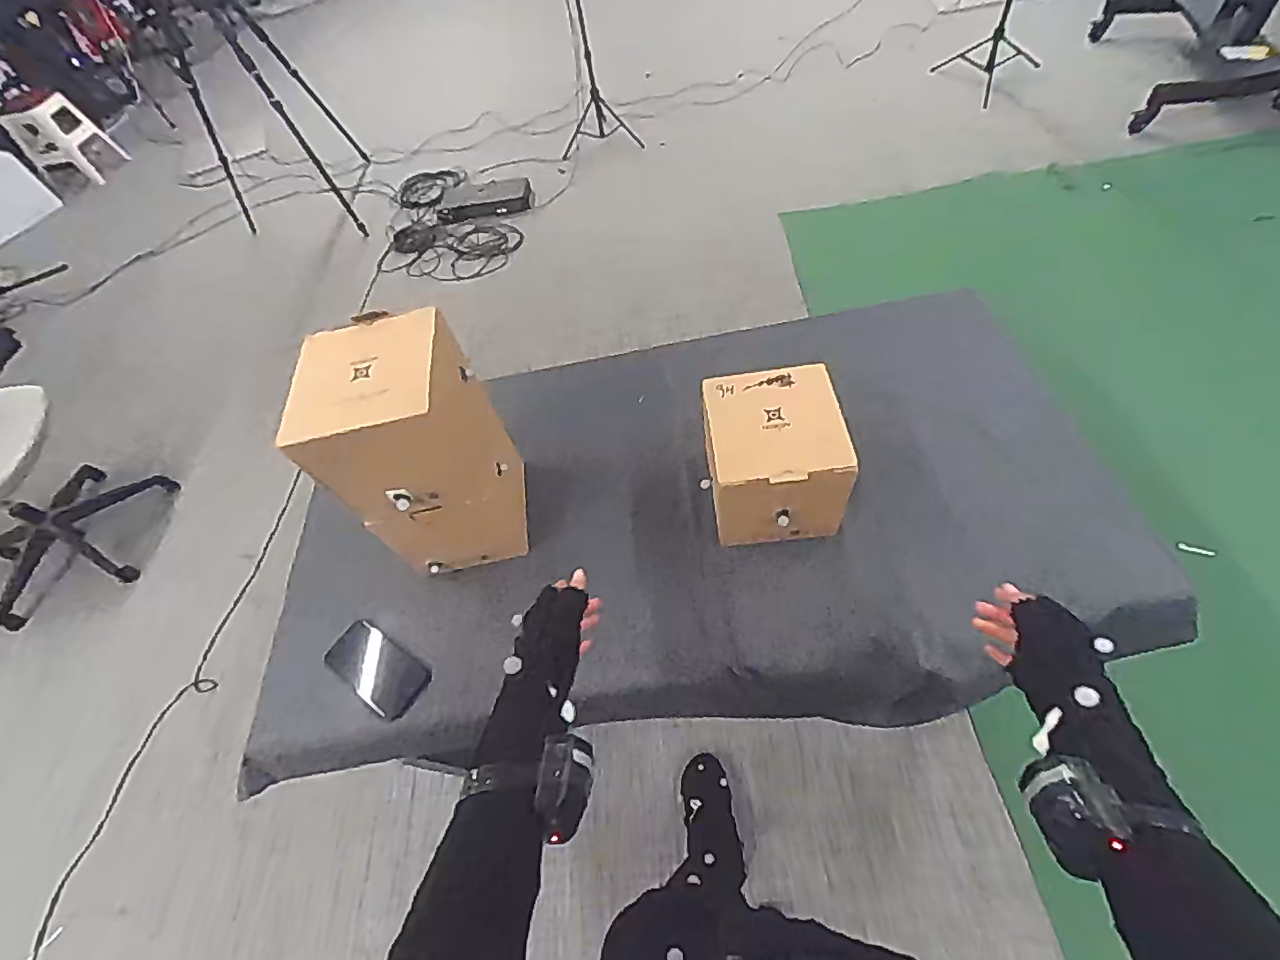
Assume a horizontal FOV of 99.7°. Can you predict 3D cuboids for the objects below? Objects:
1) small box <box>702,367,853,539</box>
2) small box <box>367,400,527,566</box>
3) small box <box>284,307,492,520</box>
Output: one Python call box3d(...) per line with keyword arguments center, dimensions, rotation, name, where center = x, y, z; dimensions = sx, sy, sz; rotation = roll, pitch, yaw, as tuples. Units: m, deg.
box3d(center=(0.180, -0.028, 0.754), dimensions=(0.168, 0.176, 0.179), rotation=(-7, 56, 5), name="small box")
box3d(center=(-0.271, 0.013, 0.800), dimensions=(0.168, 0.176, 0.179), rotation=(-12, 55, 1), name="small box")
box3d(center=(-0.290, -0.077, 0.666), dimensions=(0.168, 0.176, 0.179), rotation=(-13, 57, 1), name="small box")
